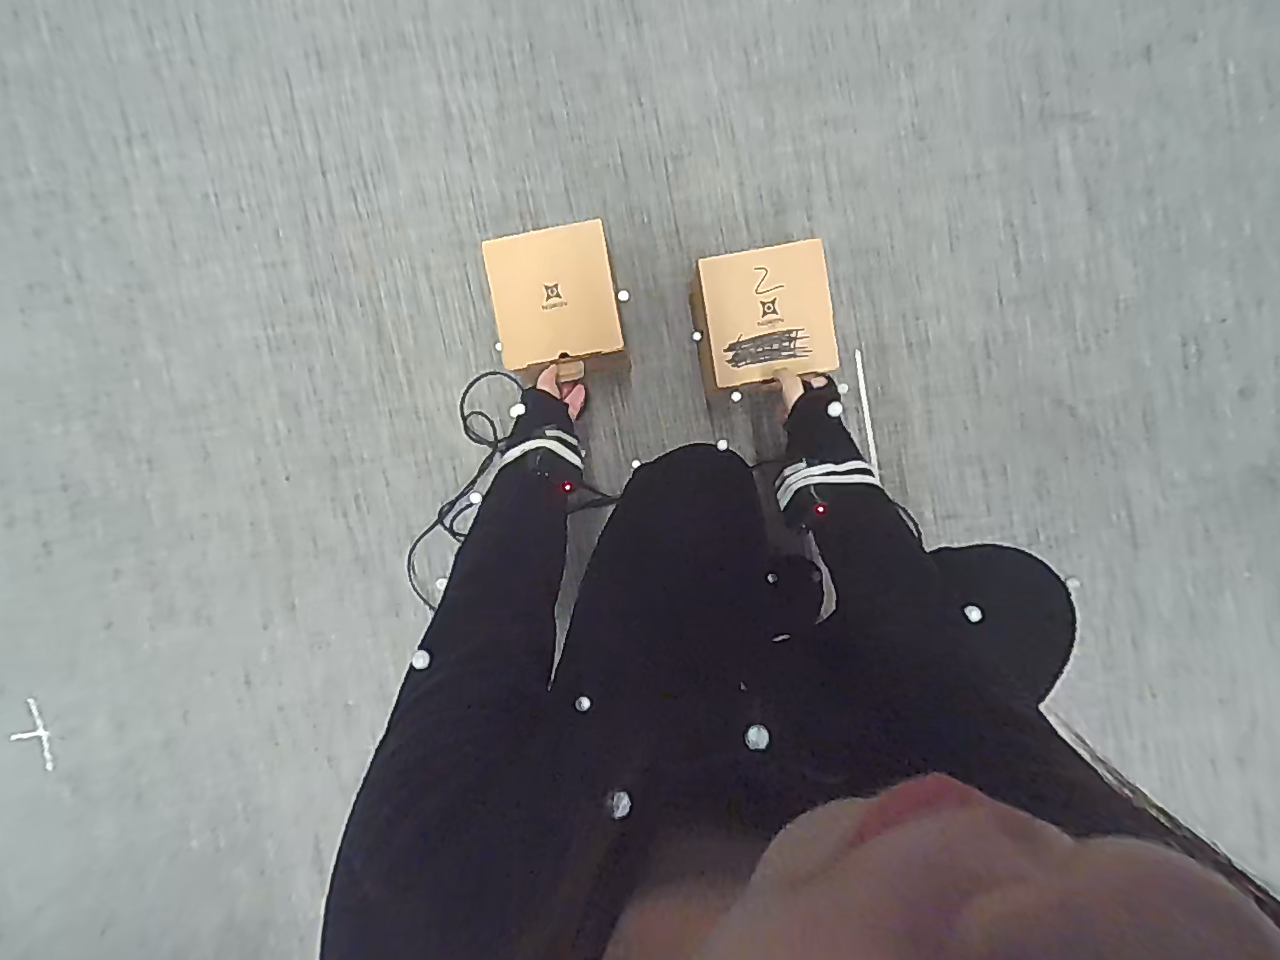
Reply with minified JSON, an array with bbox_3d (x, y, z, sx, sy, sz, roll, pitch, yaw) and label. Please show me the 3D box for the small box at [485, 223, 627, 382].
[{"bbox_3d":[-0.115,-0.253,0.808,0.168,0.176,0.179,-9,94,3],"label":"small box"}]
